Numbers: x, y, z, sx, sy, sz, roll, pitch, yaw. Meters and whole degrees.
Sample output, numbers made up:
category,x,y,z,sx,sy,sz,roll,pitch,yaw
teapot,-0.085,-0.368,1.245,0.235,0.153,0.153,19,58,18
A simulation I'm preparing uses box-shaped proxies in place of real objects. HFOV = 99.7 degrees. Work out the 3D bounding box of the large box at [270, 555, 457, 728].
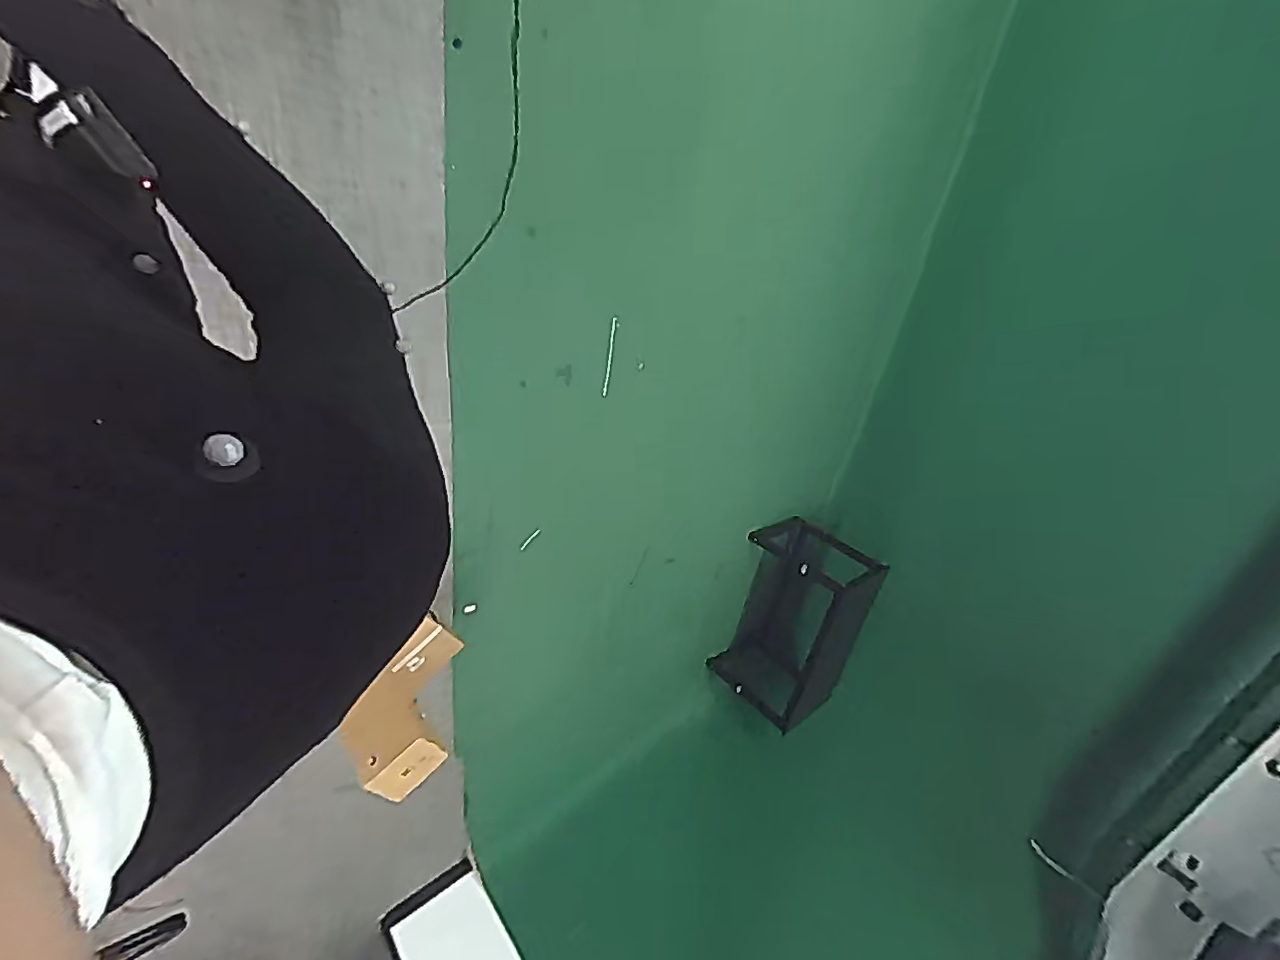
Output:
category,x,y,z,sx,sy,sz,roll,pitch,yaw
large box,-0.911,0.537,1.798,0.408,0.320,0.320,-44,141,-17

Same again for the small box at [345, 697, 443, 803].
category,x,y,z,sx,sy,sz,roll,pitch,yaw
small box,-0.695,0.753,1.514,0.179,0.176,0.168,-40,139,-20
